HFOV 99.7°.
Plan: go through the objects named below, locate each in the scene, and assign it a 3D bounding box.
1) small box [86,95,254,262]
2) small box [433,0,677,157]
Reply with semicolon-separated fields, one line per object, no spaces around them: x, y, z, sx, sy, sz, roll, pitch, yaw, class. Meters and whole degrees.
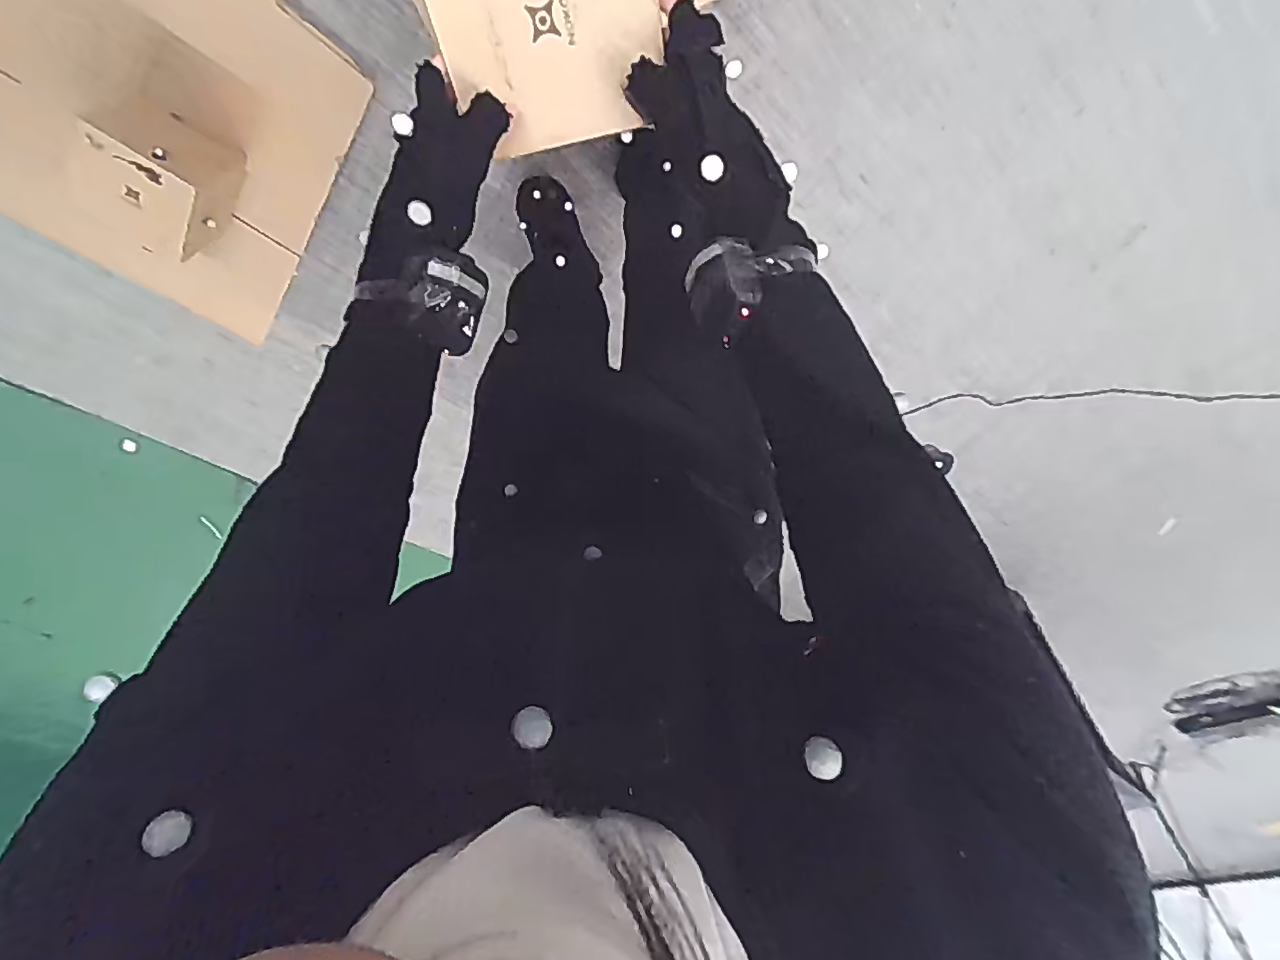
-0.833;-0.541;0.971;0.168;0.176;0.179;29;131;-24;small box
-0.070;-0.411;0.482;0.179;0.176;0.168;-10;127;7;small box
